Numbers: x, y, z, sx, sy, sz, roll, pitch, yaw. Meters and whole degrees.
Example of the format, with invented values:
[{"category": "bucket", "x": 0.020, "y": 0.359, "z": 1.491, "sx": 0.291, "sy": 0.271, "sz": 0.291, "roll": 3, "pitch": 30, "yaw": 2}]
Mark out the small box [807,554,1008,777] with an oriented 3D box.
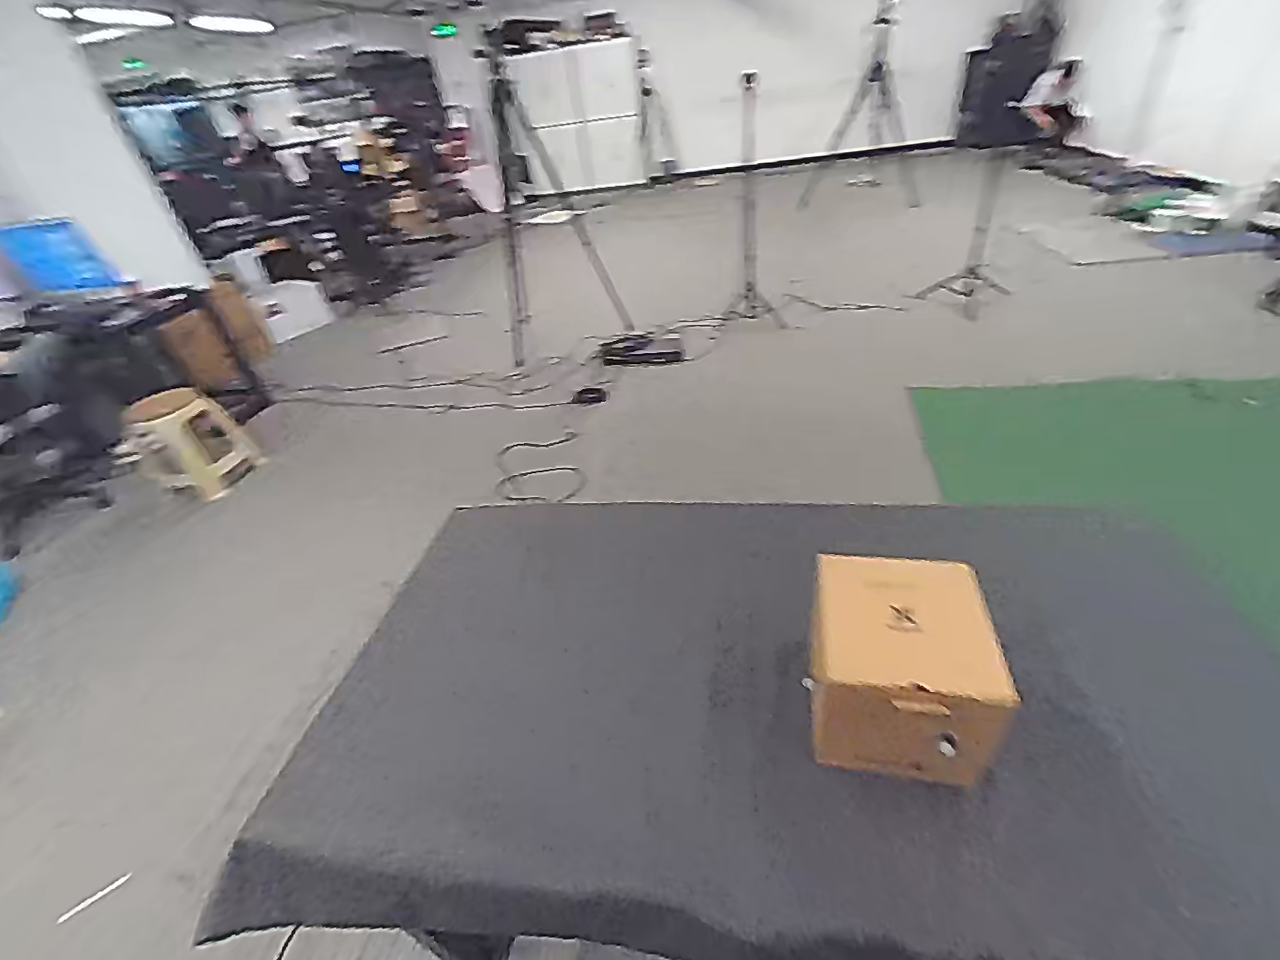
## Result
[{"category": "small box", "x": 0.284, "y": 0.208, "z": 0.618, "sx": 0.168, "sy": 0.176, "sz": 0.179, "roll": 2, "pitch": 37, "yaw": 13}]
